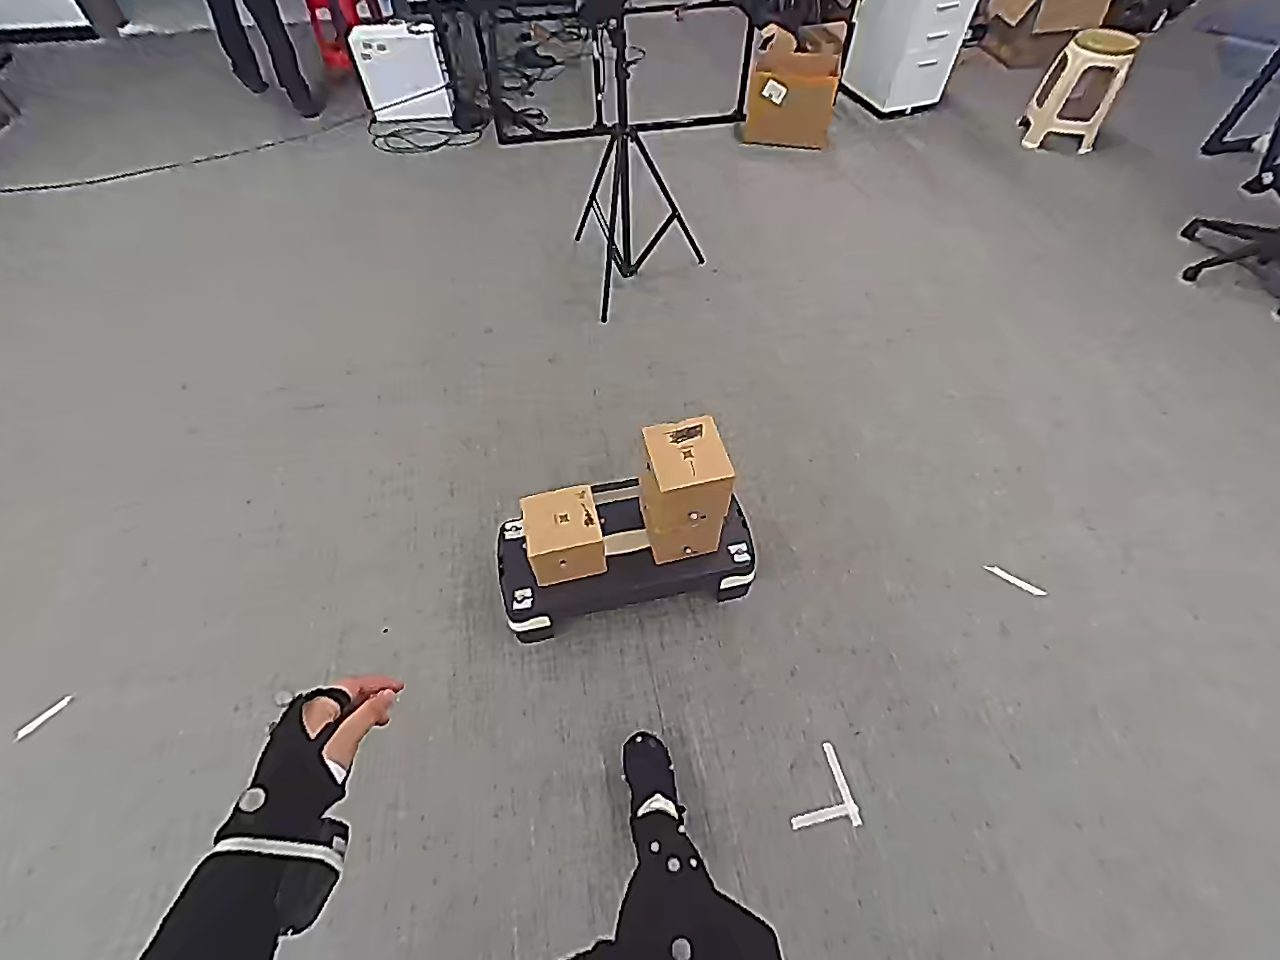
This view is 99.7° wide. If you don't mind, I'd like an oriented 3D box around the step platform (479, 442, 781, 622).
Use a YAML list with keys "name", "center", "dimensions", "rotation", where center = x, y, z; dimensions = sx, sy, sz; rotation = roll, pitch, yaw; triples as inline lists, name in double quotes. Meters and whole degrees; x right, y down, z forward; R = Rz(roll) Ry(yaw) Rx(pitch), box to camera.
- name: "step platform"
  center: [-0.024, 0.126, 1.312]
  dimensions: [0.684, 0.204, 0.286]
  rotation: [-10, 55, -7]

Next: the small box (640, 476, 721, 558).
- name: "small box"
  center: [0.096, 0.092, 1.377]
  dimensions: [0.168, 0.176, 0.179]
  rotation: [-12, 56, -7]

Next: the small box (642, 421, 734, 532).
- name: "small box"
  center: [0.102, -0.006, 1.245]
  dimensions: [0.168, 0.176, 0.179]
  rotation: [-12, 57, -7]

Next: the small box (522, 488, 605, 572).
- name: "small box"
  center: [-0.187, 0.147, 1.343]
  dimensions: [0.179, 0.176, 0.168]
  rotation: [-13, 56, -8]
